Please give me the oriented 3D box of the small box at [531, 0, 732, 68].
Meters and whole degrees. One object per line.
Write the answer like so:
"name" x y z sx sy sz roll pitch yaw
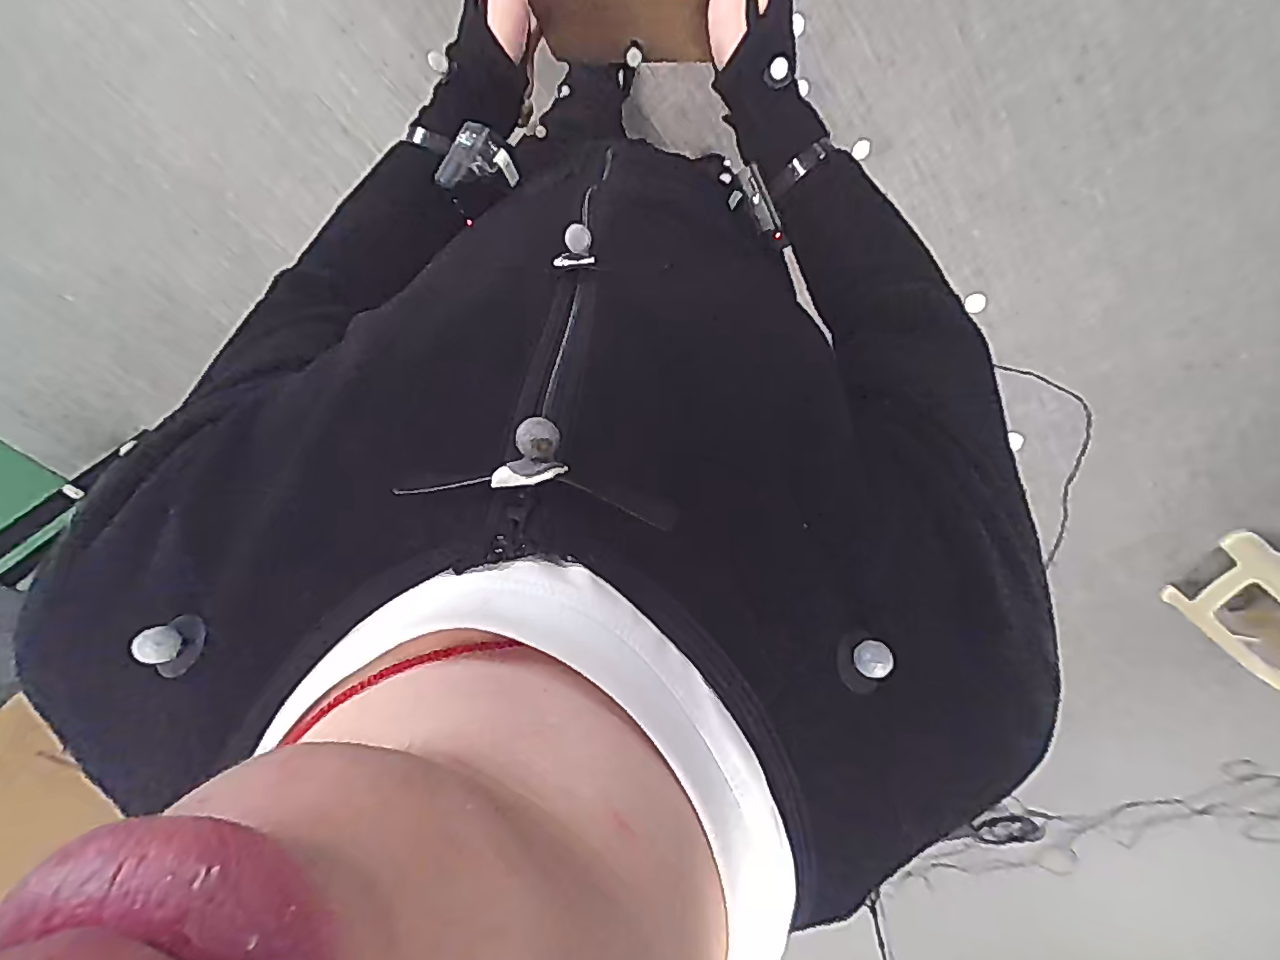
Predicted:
"small box" -0.004 -0.490 0.468 0.179 0.176 0.168 2 106 2
